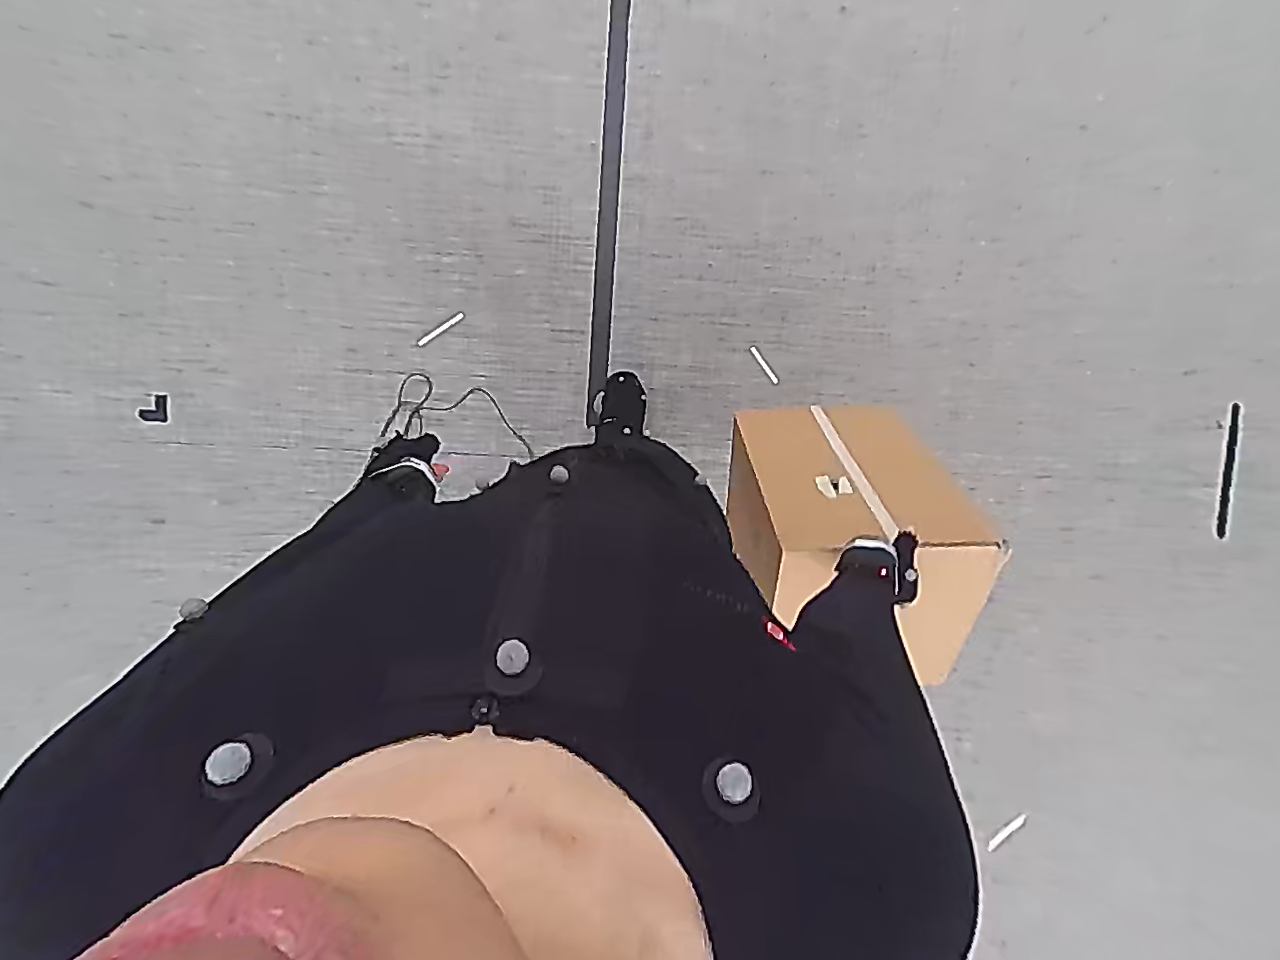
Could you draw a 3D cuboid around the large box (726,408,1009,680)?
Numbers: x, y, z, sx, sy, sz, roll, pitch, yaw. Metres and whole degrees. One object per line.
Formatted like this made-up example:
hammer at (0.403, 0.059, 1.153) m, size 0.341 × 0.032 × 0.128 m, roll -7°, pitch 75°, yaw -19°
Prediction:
large box at (0.352, 0.098, 0.987) m, size 0.320 × 0.408 × 0.320 m, roll -2°, pitch 126°, yaw 0°
